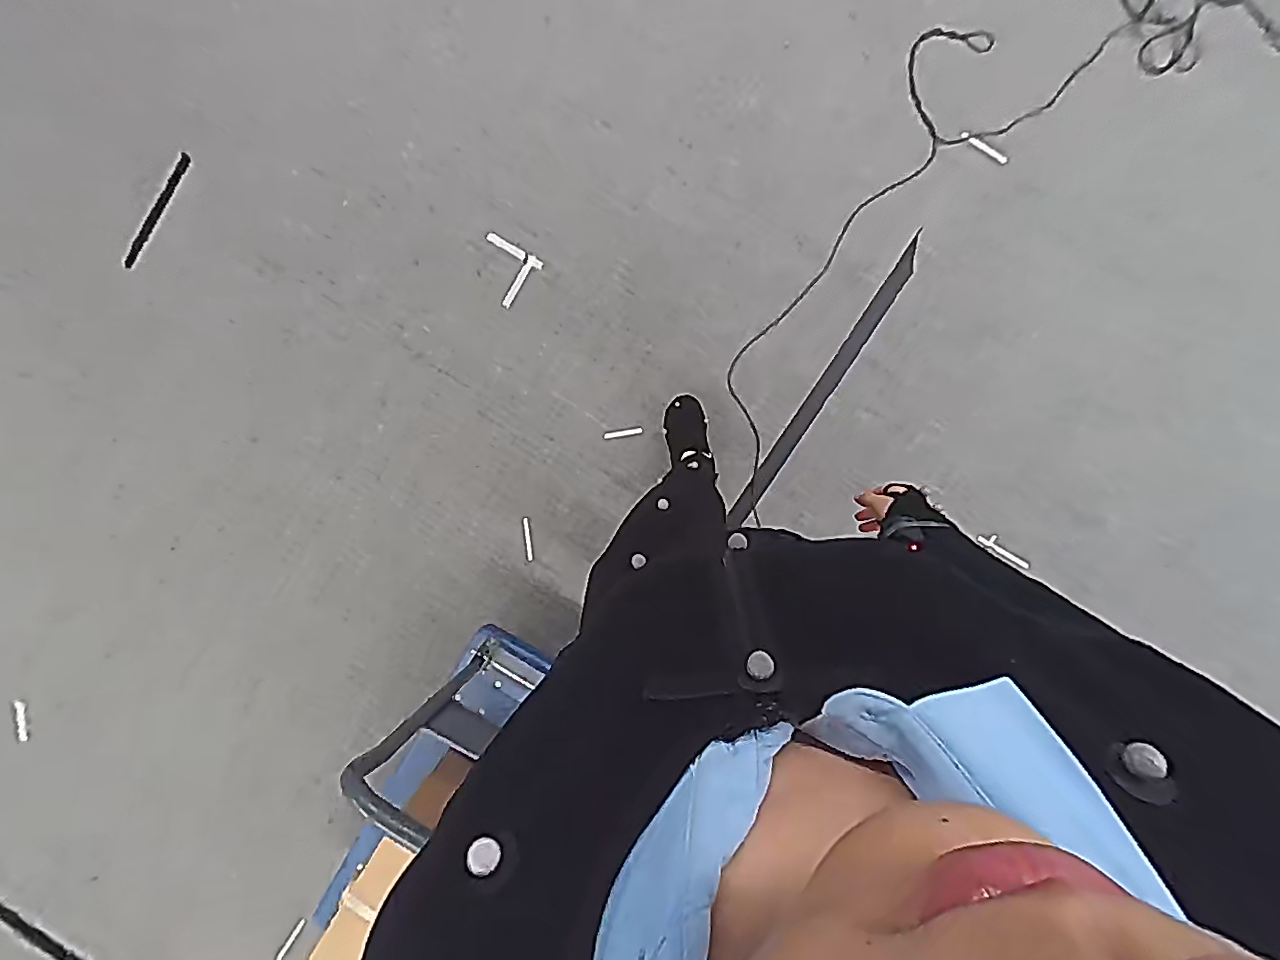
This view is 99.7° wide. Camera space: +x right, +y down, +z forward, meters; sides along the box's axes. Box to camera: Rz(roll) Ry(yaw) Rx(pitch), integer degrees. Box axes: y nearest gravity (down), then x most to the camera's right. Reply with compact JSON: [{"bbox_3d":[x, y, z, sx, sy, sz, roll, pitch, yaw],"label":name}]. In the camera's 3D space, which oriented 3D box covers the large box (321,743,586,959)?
[{"bbox_3d":[-0.380,0.879,1.203,0.408,0.320,0.320,32,92,1],"label":"large box"}]
